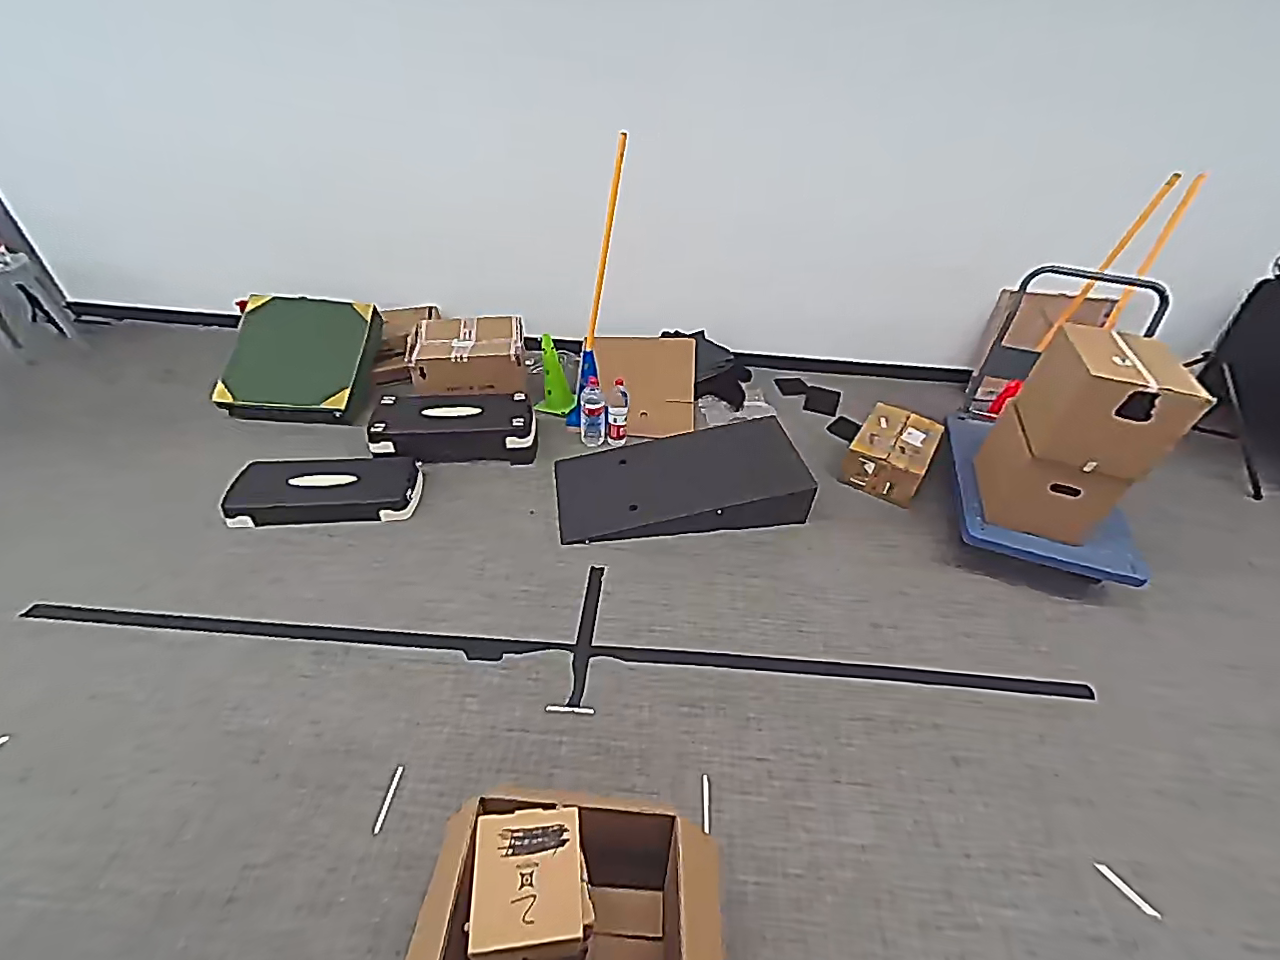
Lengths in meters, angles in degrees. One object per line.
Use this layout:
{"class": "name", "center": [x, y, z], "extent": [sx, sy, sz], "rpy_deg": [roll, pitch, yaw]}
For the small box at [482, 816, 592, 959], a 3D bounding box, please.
{"class": "small box", "center": [-0.194, 0.772, 1.019], "extent": [0.179, 0.176, 0.168], "rpy_deg": [-6, 44, -17]}
